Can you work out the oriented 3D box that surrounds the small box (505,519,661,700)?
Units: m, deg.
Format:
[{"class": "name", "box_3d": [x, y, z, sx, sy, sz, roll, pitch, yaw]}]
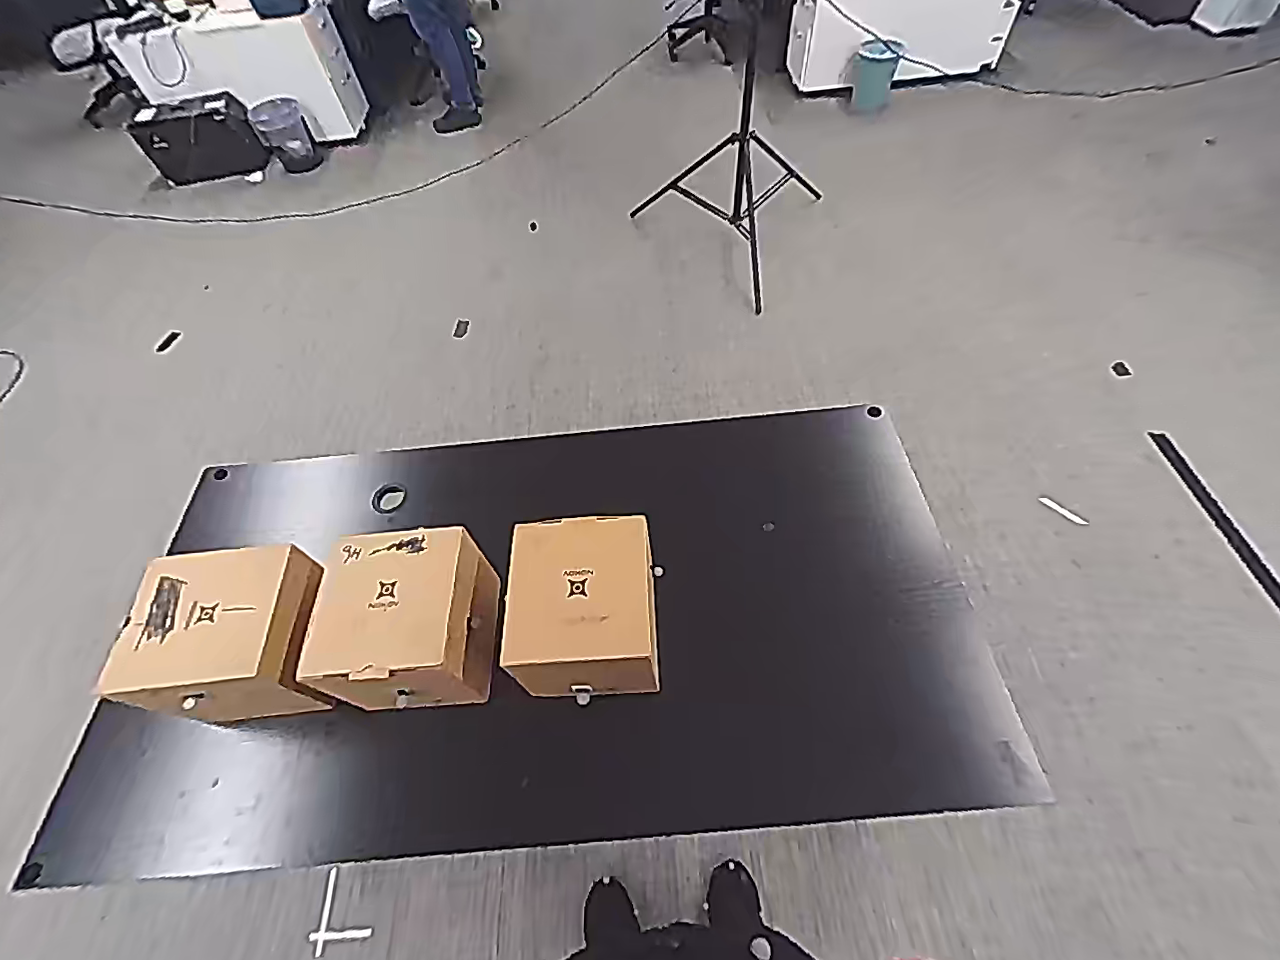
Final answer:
[{"class": "small box", "box_3d": [-0.064, 0.170, 0.698, 0.168, 0.176, 0.179, -6, 57, 3]}]

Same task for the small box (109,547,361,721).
[{"class": "small box", "box_3d": [-0.503, 0.206, 0.706, 0.179, 0.176, 0.168, -7, 56, -1]}]
